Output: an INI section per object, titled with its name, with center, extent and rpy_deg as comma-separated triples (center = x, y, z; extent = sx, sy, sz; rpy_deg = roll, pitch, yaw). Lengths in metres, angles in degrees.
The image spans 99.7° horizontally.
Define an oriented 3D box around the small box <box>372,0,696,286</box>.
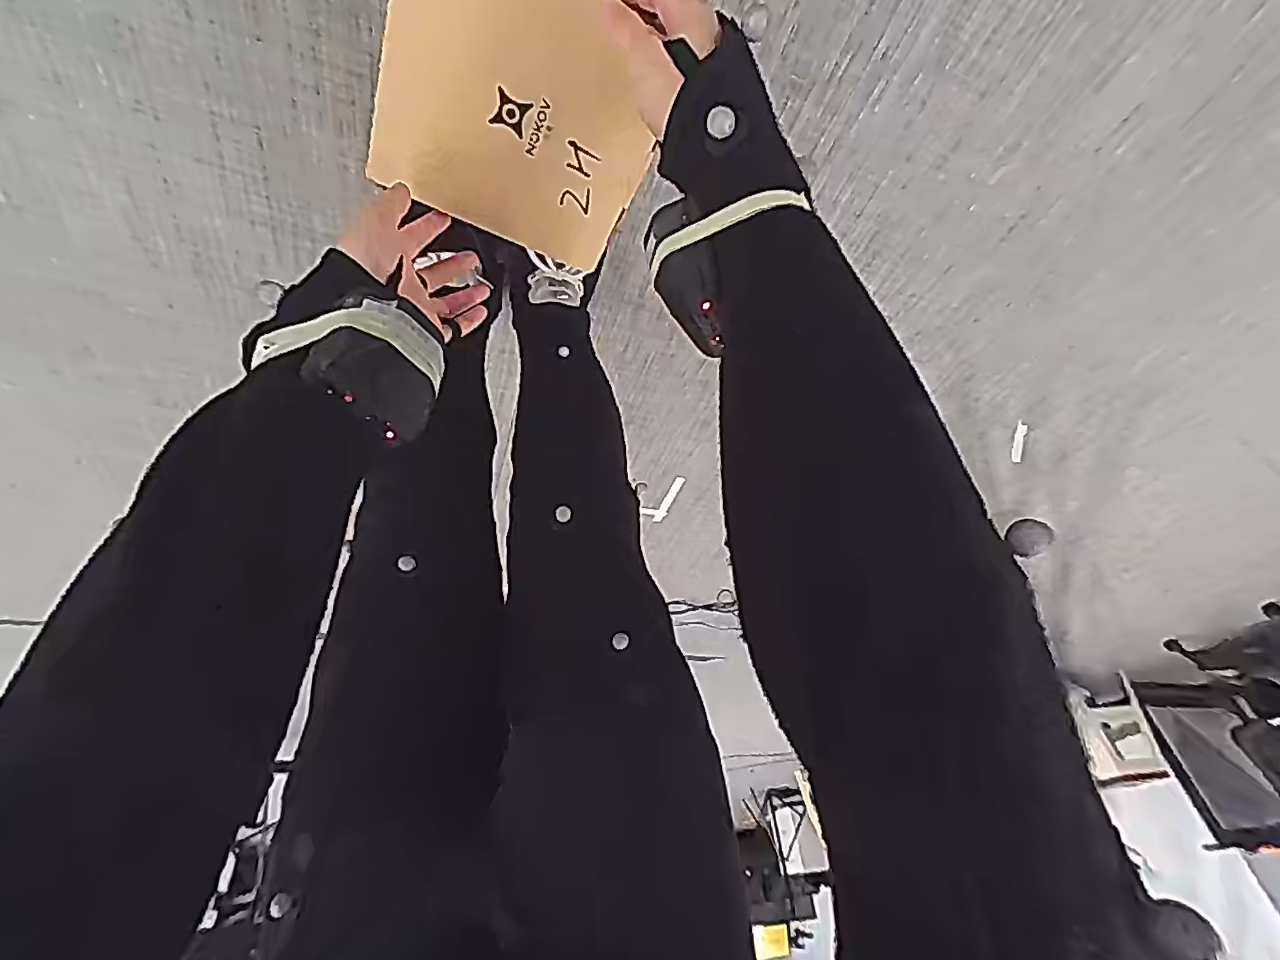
[small box]
center = -0.082, -0.290, 0.413
extent = 0.179, 0.176, 0.168
rpy_deg = 15, 138, -24
